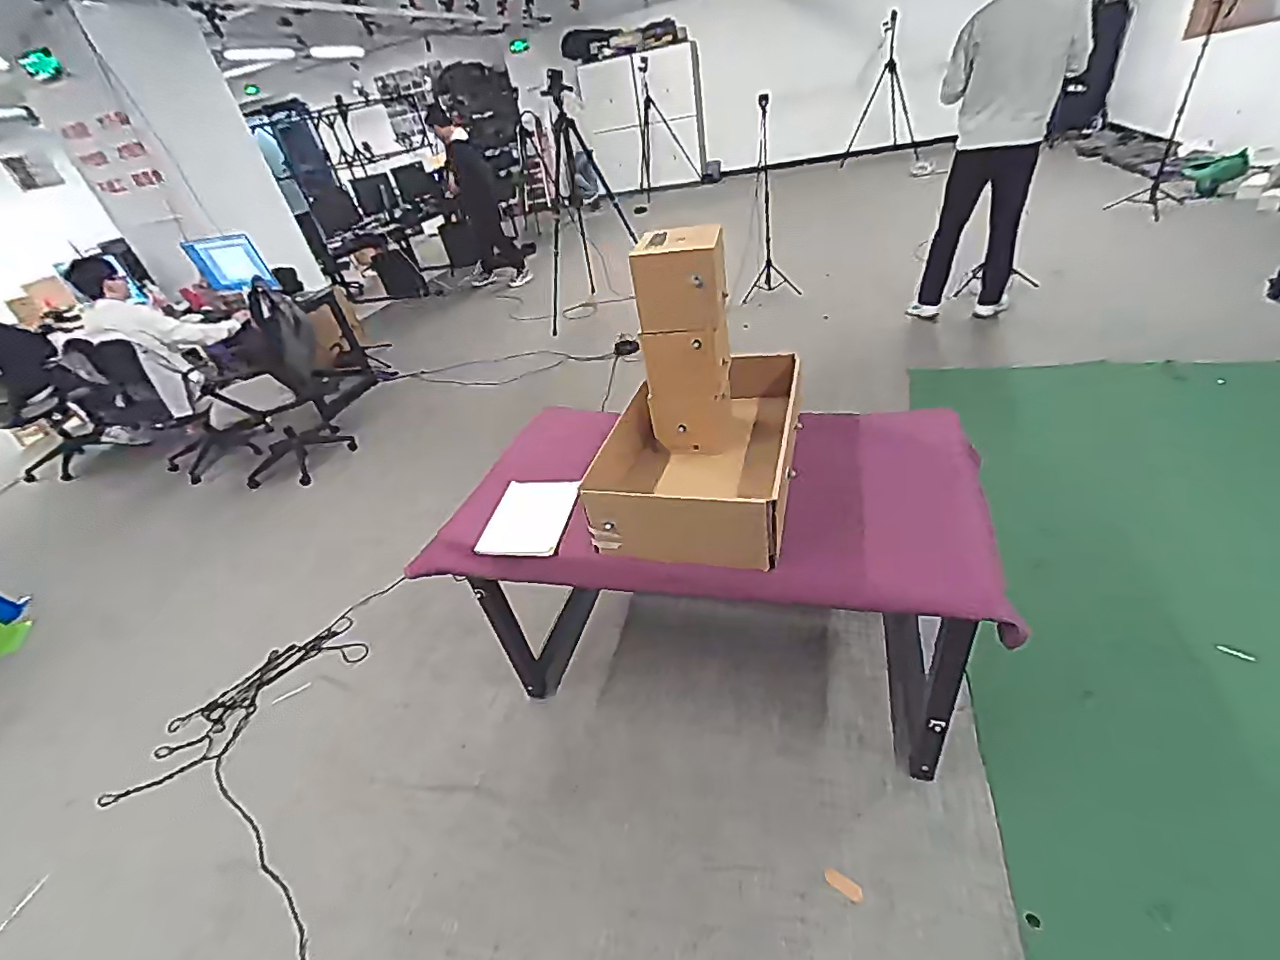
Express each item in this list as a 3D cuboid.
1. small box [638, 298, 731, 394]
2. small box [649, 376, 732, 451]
[{"bbox_3d":[0.112,-0.311,1.275,0.179,0.176,0.168,2,40,18],"label":"small box"},{"bbox_3d":[0.137,-0.188,1.377,0.168,0.176,0.179,3,41,20],"label":"small box"}]
